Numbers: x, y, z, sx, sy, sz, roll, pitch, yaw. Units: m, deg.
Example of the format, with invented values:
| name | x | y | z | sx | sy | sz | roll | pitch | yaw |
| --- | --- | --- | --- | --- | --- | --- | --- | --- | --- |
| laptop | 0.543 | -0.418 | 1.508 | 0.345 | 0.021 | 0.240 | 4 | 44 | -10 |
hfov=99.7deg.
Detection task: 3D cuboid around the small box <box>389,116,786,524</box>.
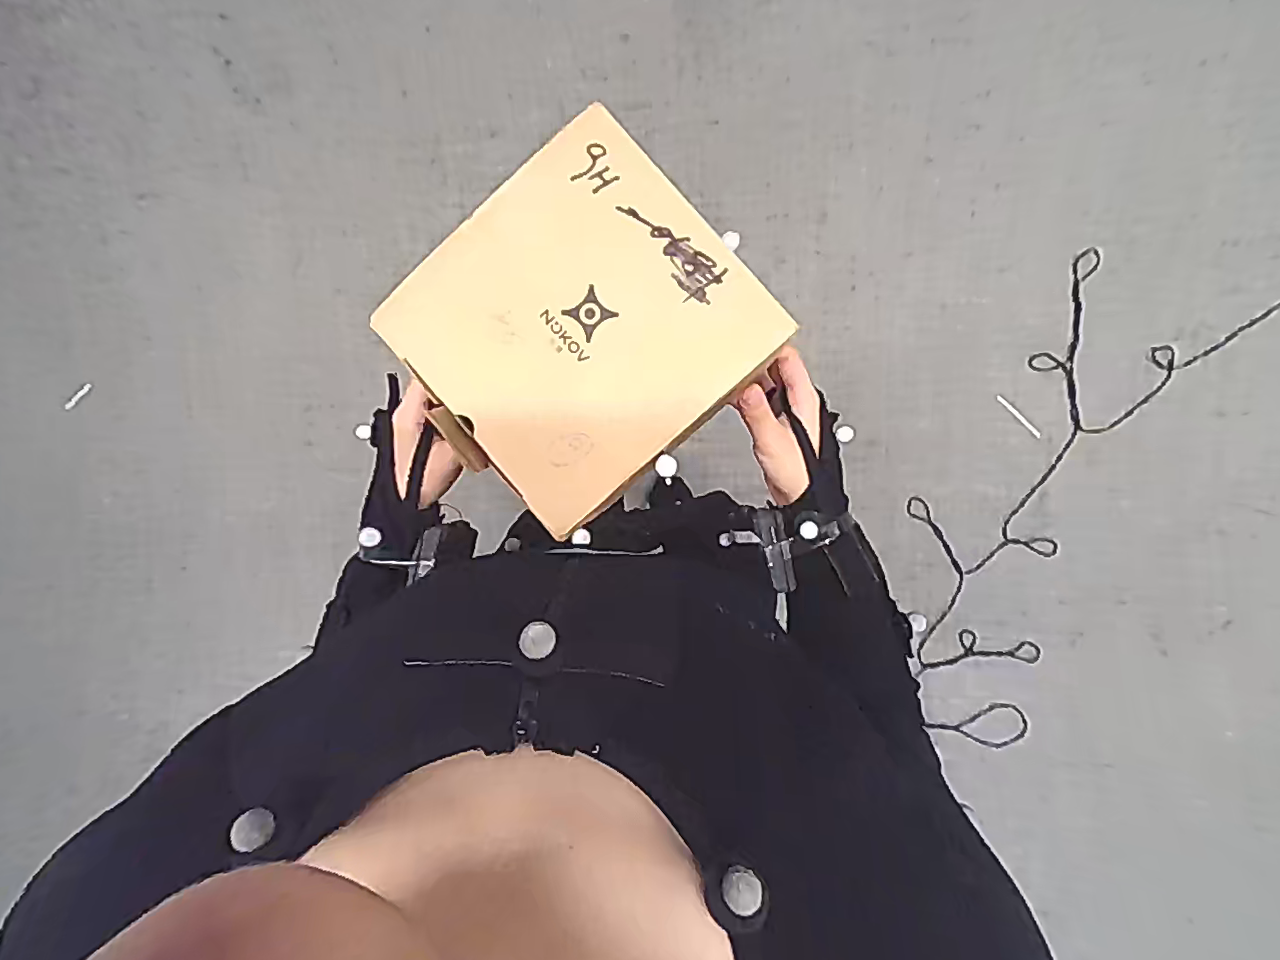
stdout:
| name | x | y | z | sx | sy | sz | roll | pitch | yaw |
| --- | --- | --- | --- | --- | --- | --- | --- | --- | --- |
| small box | -0.026 | -0.091 | 0.387 | 0.179 | 0.176 | 0.168 | -41 | 89 | 4 |
